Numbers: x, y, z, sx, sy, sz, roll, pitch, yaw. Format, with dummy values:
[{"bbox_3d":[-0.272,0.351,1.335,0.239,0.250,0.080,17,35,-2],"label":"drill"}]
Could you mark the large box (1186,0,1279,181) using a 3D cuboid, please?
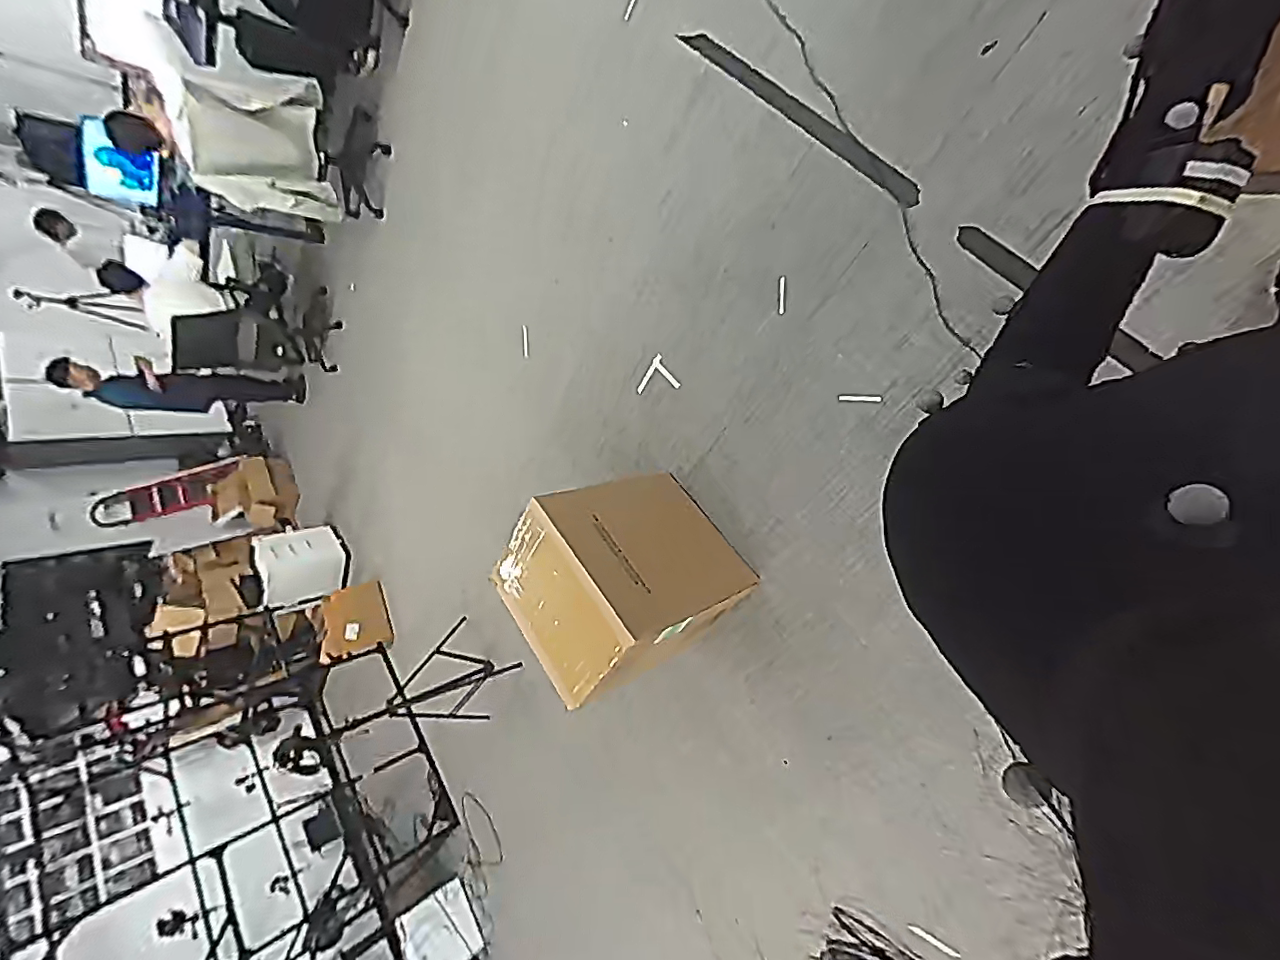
[{"bbox_3d":[0.647,-0.369,0.313,0.408,0.320,0.320,23,124,39],"label":"large box"}]
